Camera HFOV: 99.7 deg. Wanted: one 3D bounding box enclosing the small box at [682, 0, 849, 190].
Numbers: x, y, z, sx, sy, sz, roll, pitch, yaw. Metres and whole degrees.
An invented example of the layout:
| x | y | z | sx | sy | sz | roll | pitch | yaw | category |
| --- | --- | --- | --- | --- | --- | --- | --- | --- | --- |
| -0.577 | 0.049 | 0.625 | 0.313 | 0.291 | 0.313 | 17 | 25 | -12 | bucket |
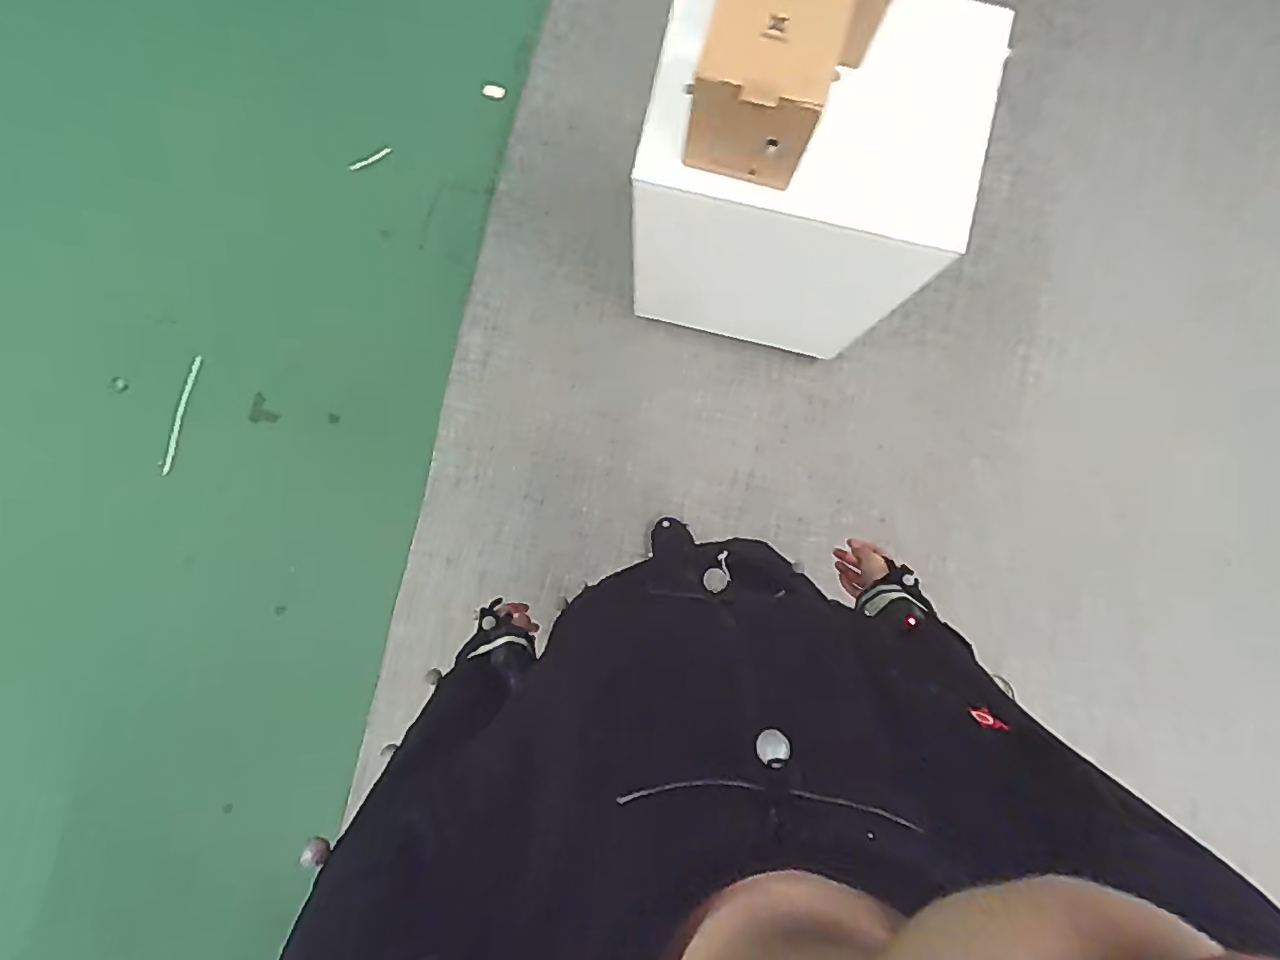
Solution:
| x | y | z | sx | sy | sz | roll | pitch | yaw | category |
| --- | --- | --- | --- | --- | --- | --- | --- | --- | --- |
| 0.158 | -0.533 | 0.731 | 0.168 | 0.176 | 0.179 | 14 | 84 | -1 | small box |
